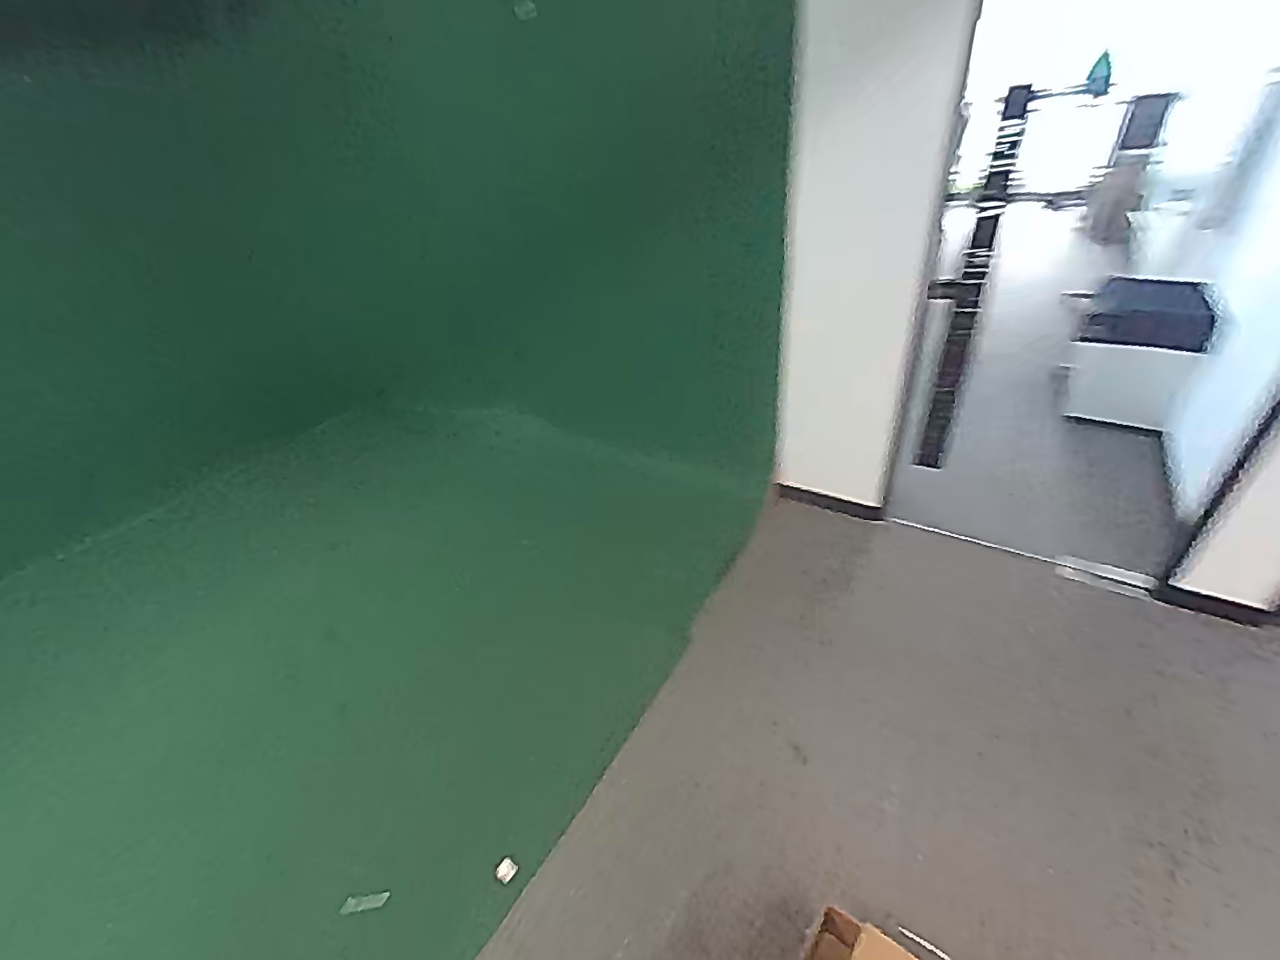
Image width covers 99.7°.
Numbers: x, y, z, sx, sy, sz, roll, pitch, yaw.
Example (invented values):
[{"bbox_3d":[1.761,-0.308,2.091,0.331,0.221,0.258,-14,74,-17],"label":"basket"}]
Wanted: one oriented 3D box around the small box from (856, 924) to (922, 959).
[{"bbox_3d":[0.389,0.843,0.816,0.168,0.176,0.179,22,43,33],"label":"small box"}]
